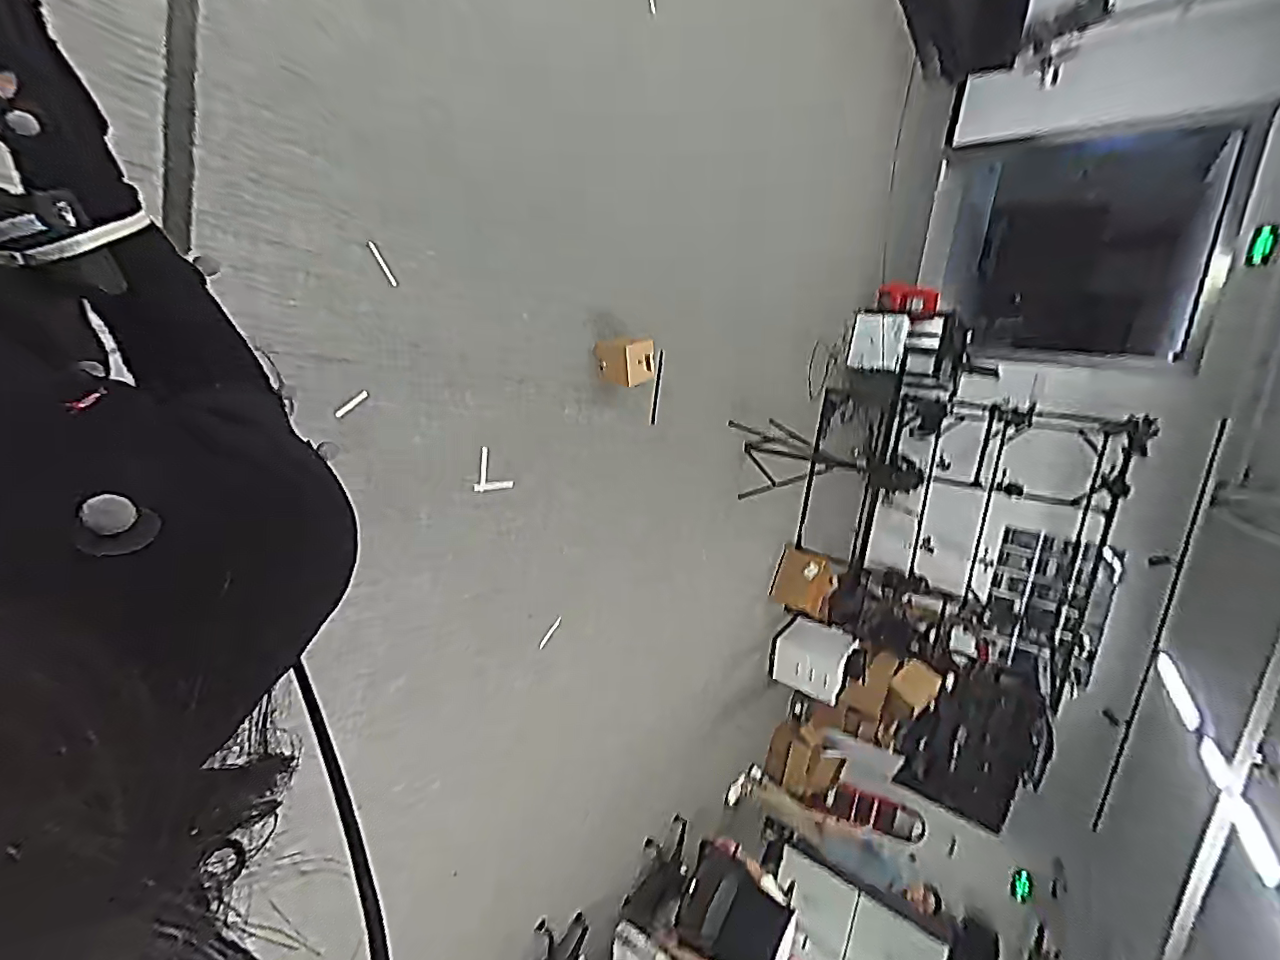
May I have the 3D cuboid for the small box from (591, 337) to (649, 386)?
[{"bbox_3d":[-0.083,-0.504,2.274,0.179,0.176,0.168,-30,125,-45],"label":"small box"}]
